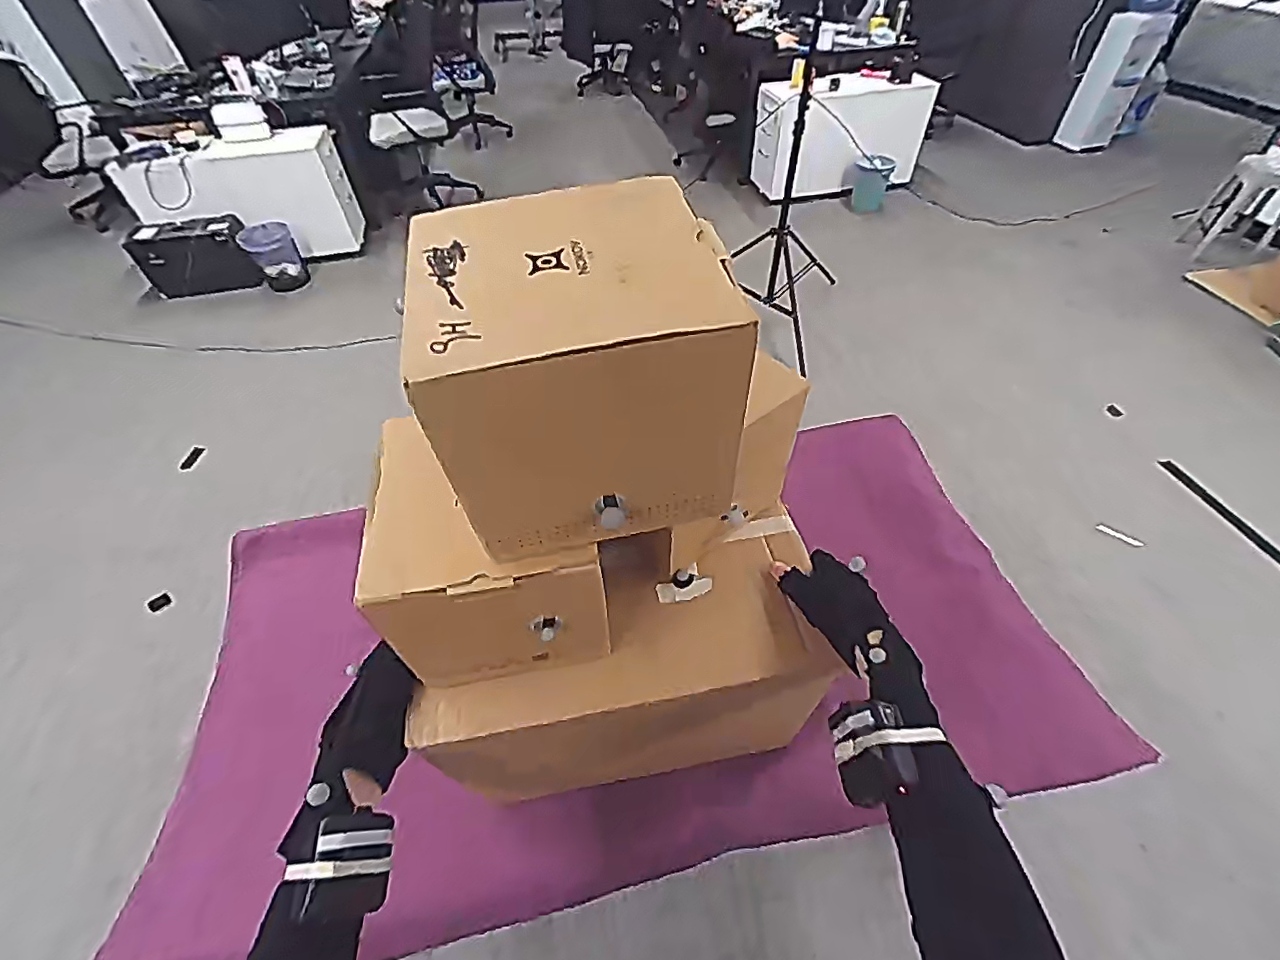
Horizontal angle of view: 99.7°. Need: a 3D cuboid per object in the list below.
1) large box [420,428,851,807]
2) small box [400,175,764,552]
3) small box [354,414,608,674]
[{"bbox_3d":[-0.025,0.175,0.686,0.408,0.320,0.320,-9,52,-7],"label":"large box"},{"bbox_3d":[-0.038,-0.073,0.362,0.179,0.176,0.168,-11,52,-6],"label":"small box"},{"bbox_3d":[-0.122,0.054,0.473,0.168,0.176,0.179,-8,50,-7],"label":"small box"}]
